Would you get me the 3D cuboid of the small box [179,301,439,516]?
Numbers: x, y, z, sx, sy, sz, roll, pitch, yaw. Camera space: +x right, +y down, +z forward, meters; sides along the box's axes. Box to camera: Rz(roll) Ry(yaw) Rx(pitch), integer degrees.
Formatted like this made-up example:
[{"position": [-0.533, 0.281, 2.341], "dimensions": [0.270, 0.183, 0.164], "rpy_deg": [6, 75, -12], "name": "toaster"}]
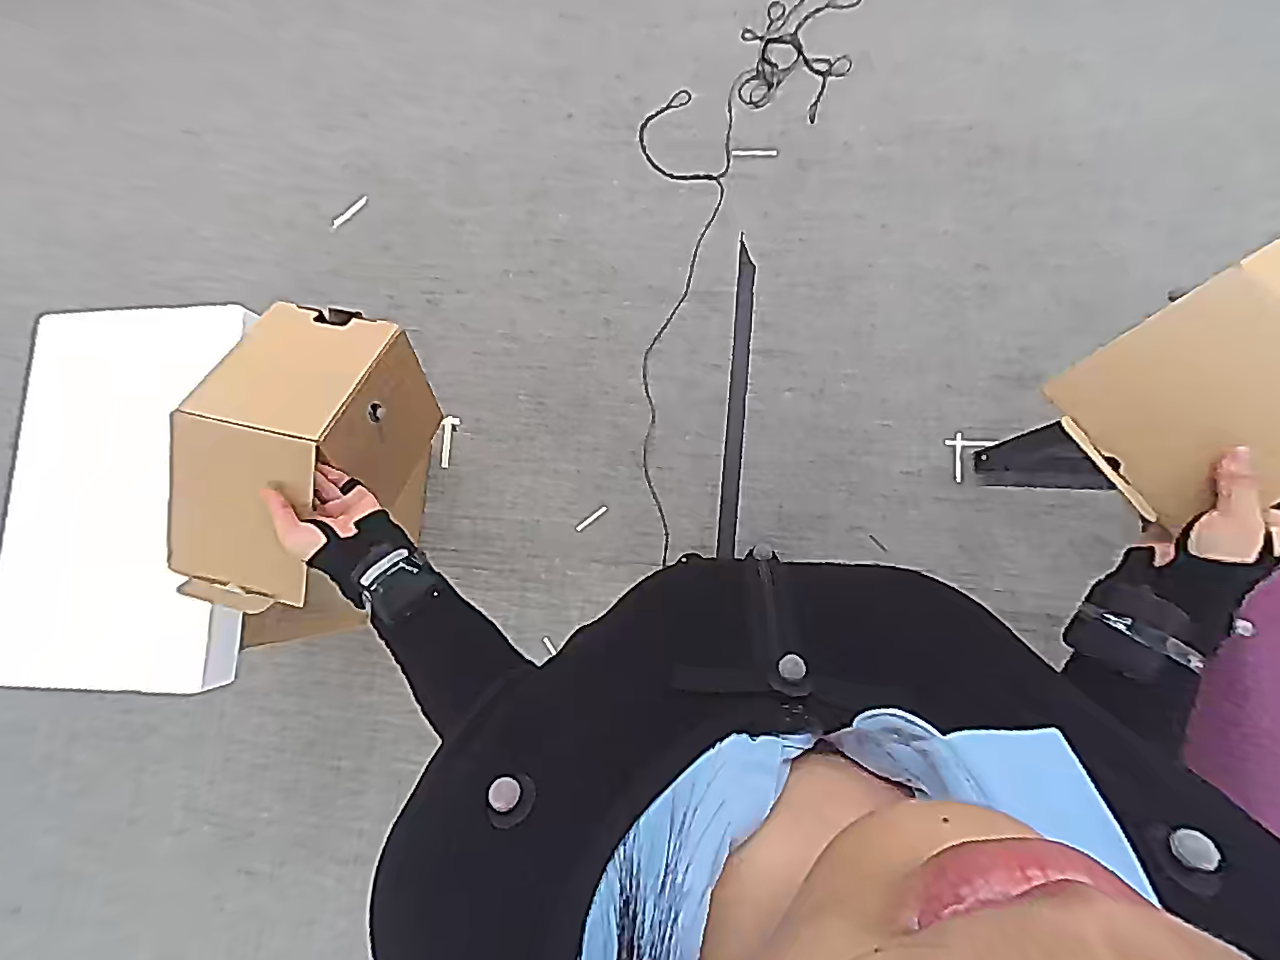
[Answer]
[{"position": [-0.366, -0.080, 0.643], "dimensions": [0.168, 0.176, 0.179], "rpy_deg": [12, 57, 8], "name": "small box"}]
